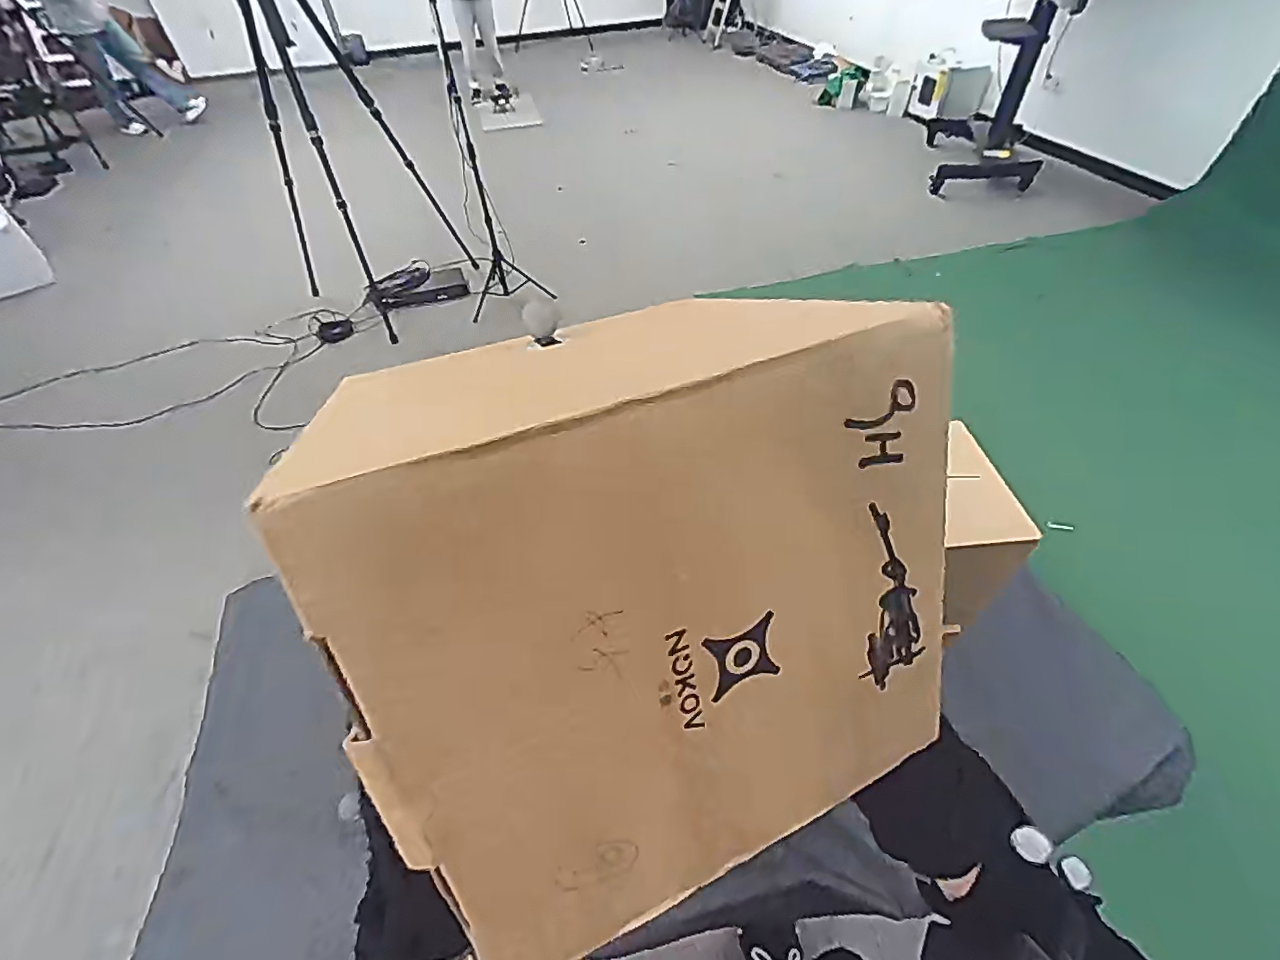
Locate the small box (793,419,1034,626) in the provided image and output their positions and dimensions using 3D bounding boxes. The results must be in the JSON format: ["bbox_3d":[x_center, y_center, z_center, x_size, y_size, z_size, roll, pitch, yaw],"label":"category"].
[{"bbox_3d":[0.282,0.053,0.615,0.179,0.176,0.168,-5,49,-1],"label":"small box"}]
